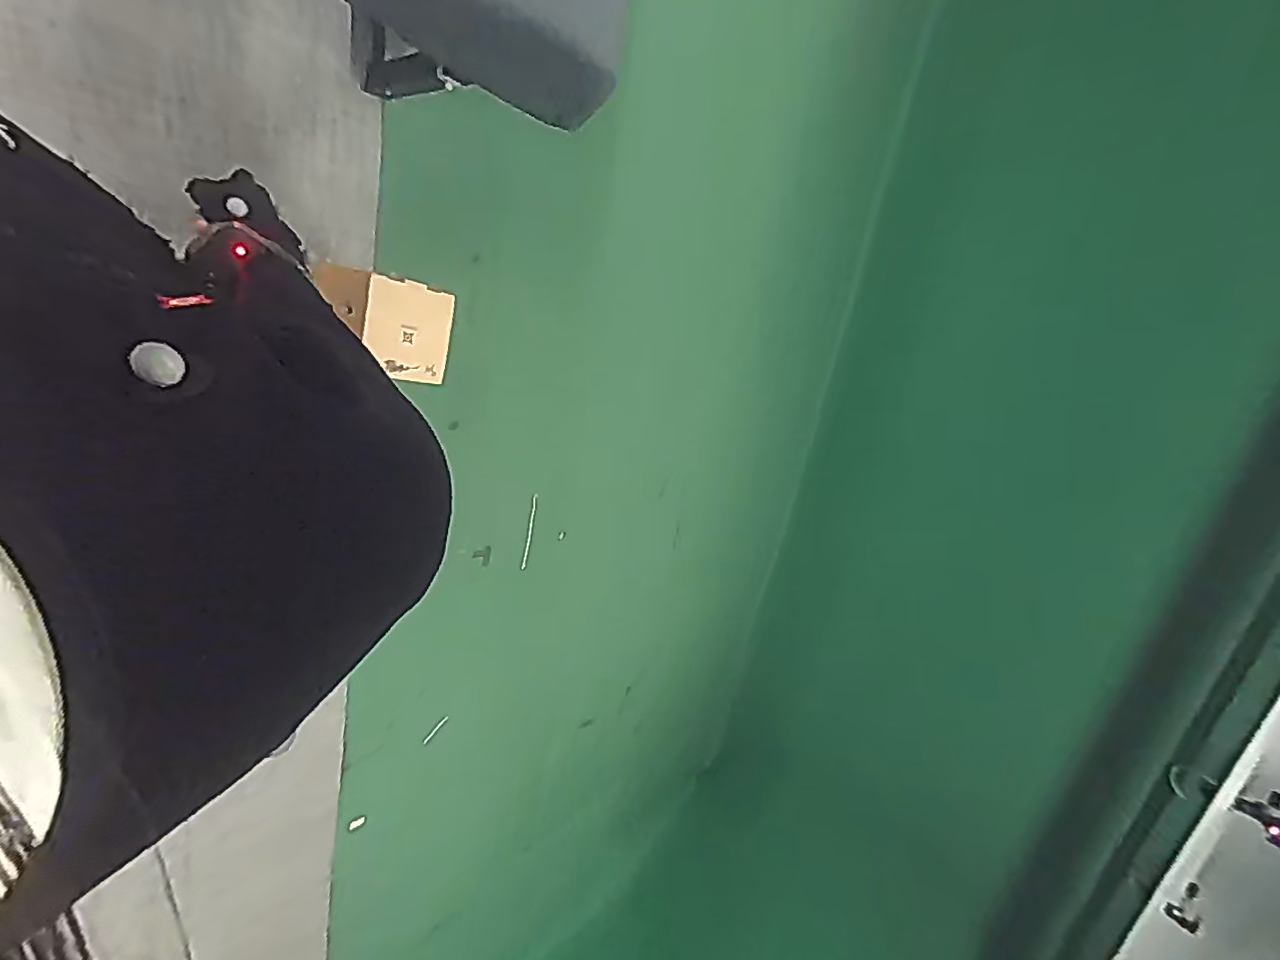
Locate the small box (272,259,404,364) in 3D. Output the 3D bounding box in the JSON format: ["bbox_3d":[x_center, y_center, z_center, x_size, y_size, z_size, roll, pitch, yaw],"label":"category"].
[{"bbox_3d":[-0.621,-0.347,1.113,0.179,0.176,0.168,-3,110,-52],"label":"small box"}]

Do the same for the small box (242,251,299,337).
[{"bbox_3d":[-0.749,-0.400,1.203,0.179,0.176,0.168,-3,110,-51],"label":"small box"}]
